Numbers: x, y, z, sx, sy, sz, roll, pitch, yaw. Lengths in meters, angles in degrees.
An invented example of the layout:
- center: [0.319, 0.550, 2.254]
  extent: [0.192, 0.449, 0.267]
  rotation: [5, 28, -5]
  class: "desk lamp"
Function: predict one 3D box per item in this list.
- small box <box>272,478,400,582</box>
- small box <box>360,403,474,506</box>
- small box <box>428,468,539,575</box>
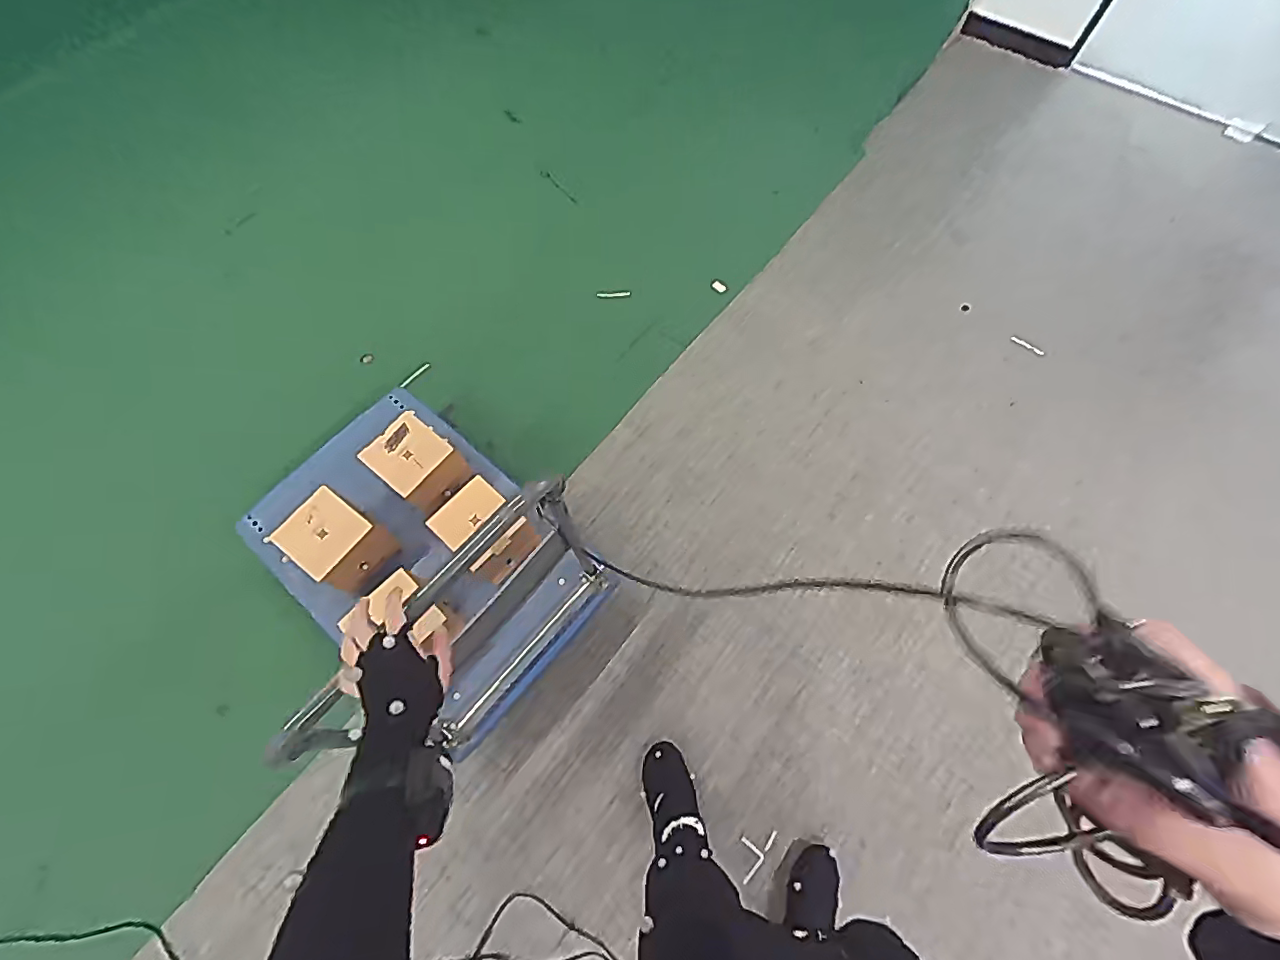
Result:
- center: [-0.722, 0.129, 1.307]
  extent: [0.179, 0.176, 0.168]
  rotation: [36, 73, 13]
  class: "small box"
- center: [-0.559, -0.057, 1.375]
  extent: [0.179, 0.176, 0.168]
  rotation: [37, 75, 13]
  class: "small box"
- center: [-0.371, 0.107, 1.310]
  extent: [0.179, 0.176, 0.168]
  rotation: [41, 75, 14]
  class: "small box"
